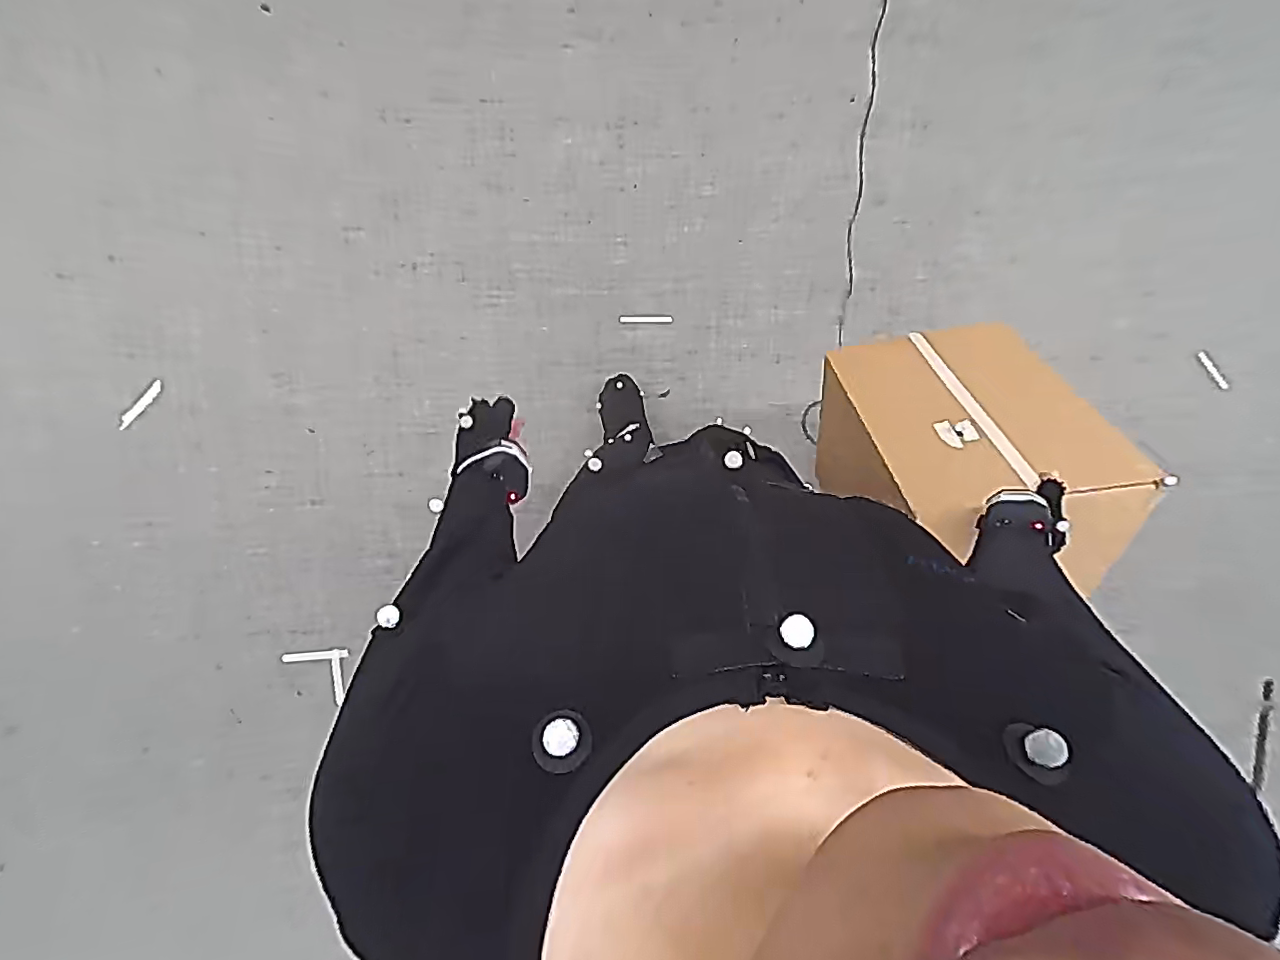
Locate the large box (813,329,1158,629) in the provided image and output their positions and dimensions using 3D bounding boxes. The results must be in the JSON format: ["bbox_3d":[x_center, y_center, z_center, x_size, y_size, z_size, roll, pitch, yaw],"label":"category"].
[{"bbox_3d":[0.523,-0.007,0.945,0.320,0.408,0.320,-9,136,4],"label":"large box"}]
